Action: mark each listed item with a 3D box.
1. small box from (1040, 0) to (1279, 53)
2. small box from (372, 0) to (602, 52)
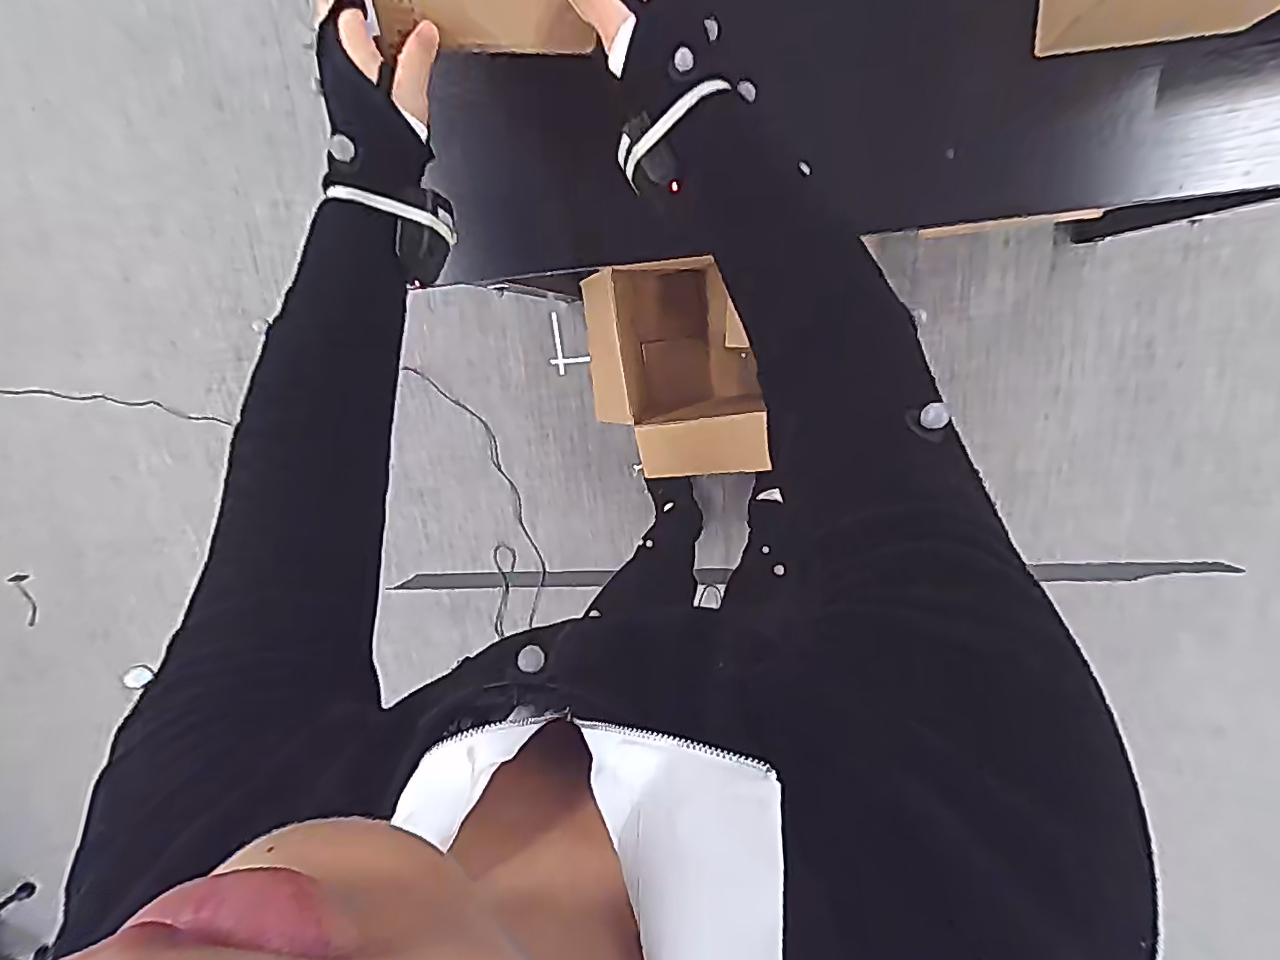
[{"bbox_3d":[0.438,-0.451,0.396,0.179,0.176,0.168,-2,105,7],"label":"small box"},{"bbox_3d":[-0.124,-0.442,0.379,0.176,0.179,0.168,-11,71,-15],"label":"small box"}]
